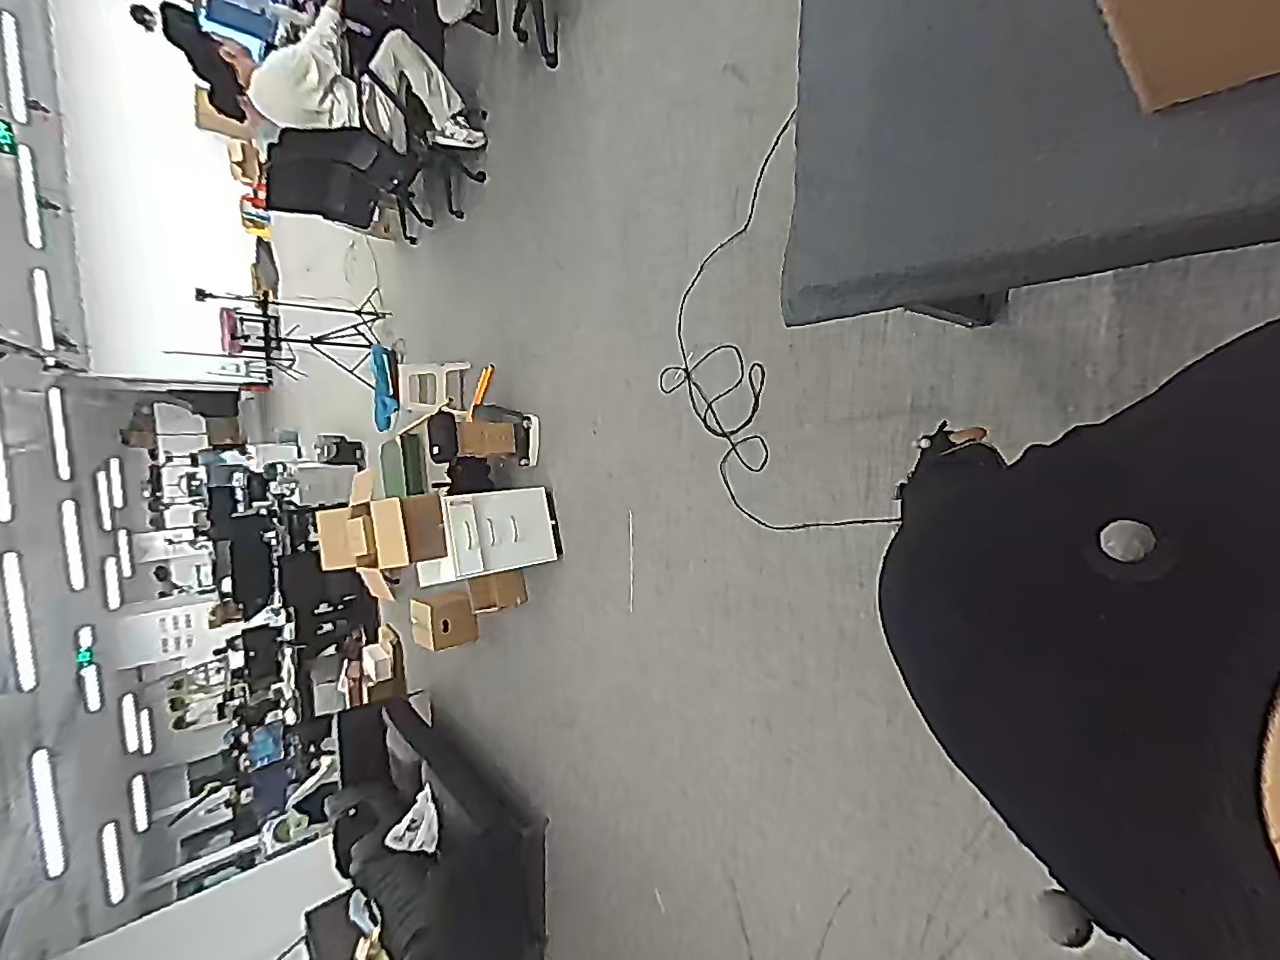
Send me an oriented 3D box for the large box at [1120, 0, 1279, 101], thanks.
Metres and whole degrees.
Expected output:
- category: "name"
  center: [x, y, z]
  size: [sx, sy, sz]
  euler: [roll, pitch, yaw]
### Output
- category: "large box"
  center: [0.563, -0.525, 0.318]
  size: [0.408, 0.320, 0.320]
  euler: [7, 100, 48]
